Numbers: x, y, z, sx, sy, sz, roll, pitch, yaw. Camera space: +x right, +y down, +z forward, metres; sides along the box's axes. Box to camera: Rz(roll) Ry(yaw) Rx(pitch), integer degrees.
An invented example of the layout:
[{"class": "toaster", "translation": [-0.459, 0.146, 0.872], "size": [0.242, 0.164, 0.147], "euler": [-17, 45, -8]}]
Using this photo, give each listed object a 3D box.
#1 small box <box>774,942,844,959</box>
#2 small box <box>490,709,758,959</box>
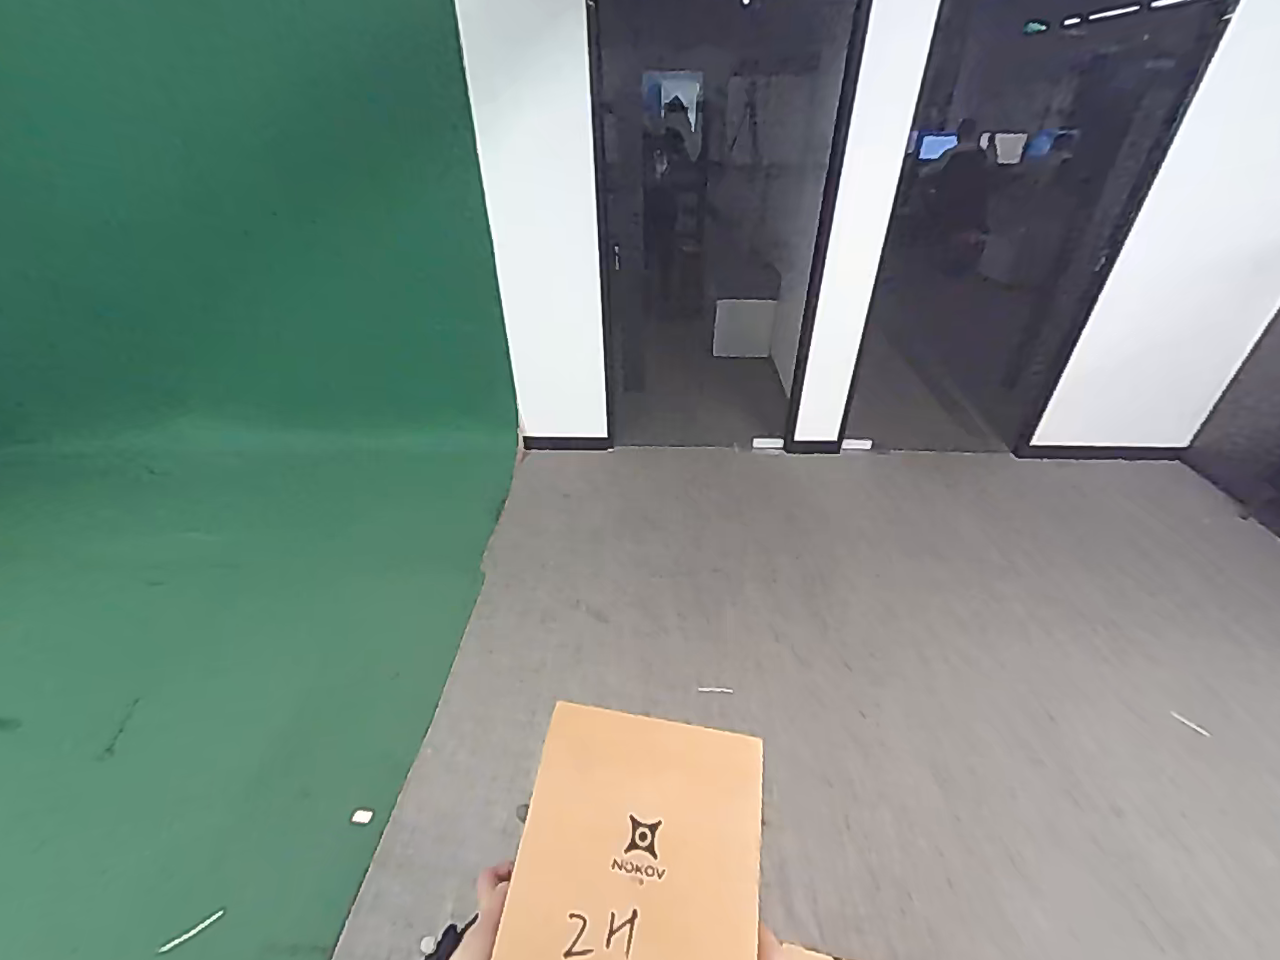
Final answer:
[{"class": "small box", "translation": [0.273, 0.836, 0.799], "size": [0.168, 0.176, 0.179], "euler": [7, 38, 11]}, {"class": "small box", "translation": [-0.004, 0.313, 0.442], "size": [0.168, 0.176, 0.179], "euler": [8, 53, 6]}]
